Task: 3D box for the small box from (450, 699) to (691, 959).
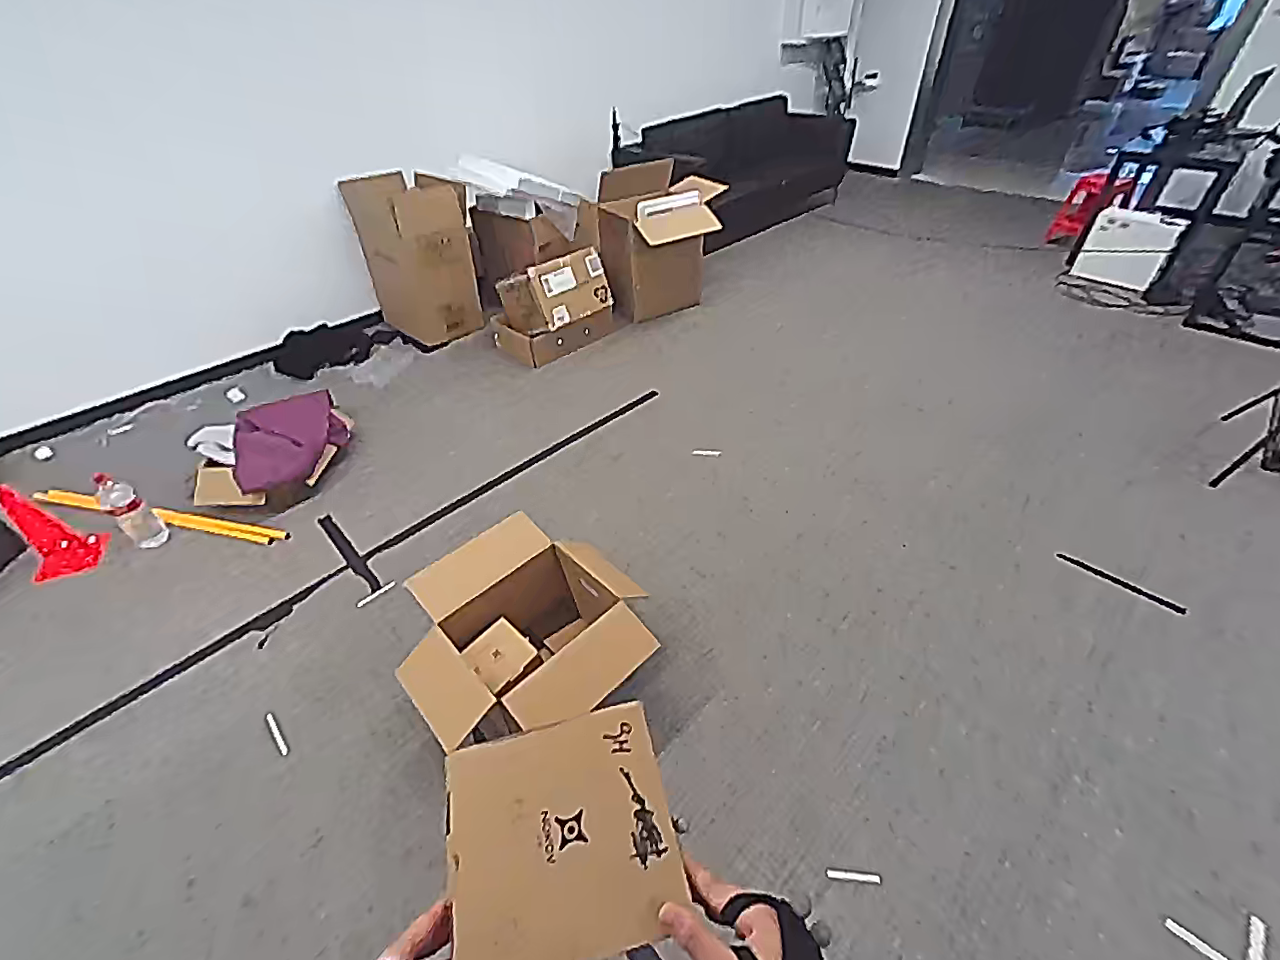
[{"bbox_3d":[-0.058,0.329,0.493,0.179,0.176,0.168,-13,51,-7],"label":"small box"}]
